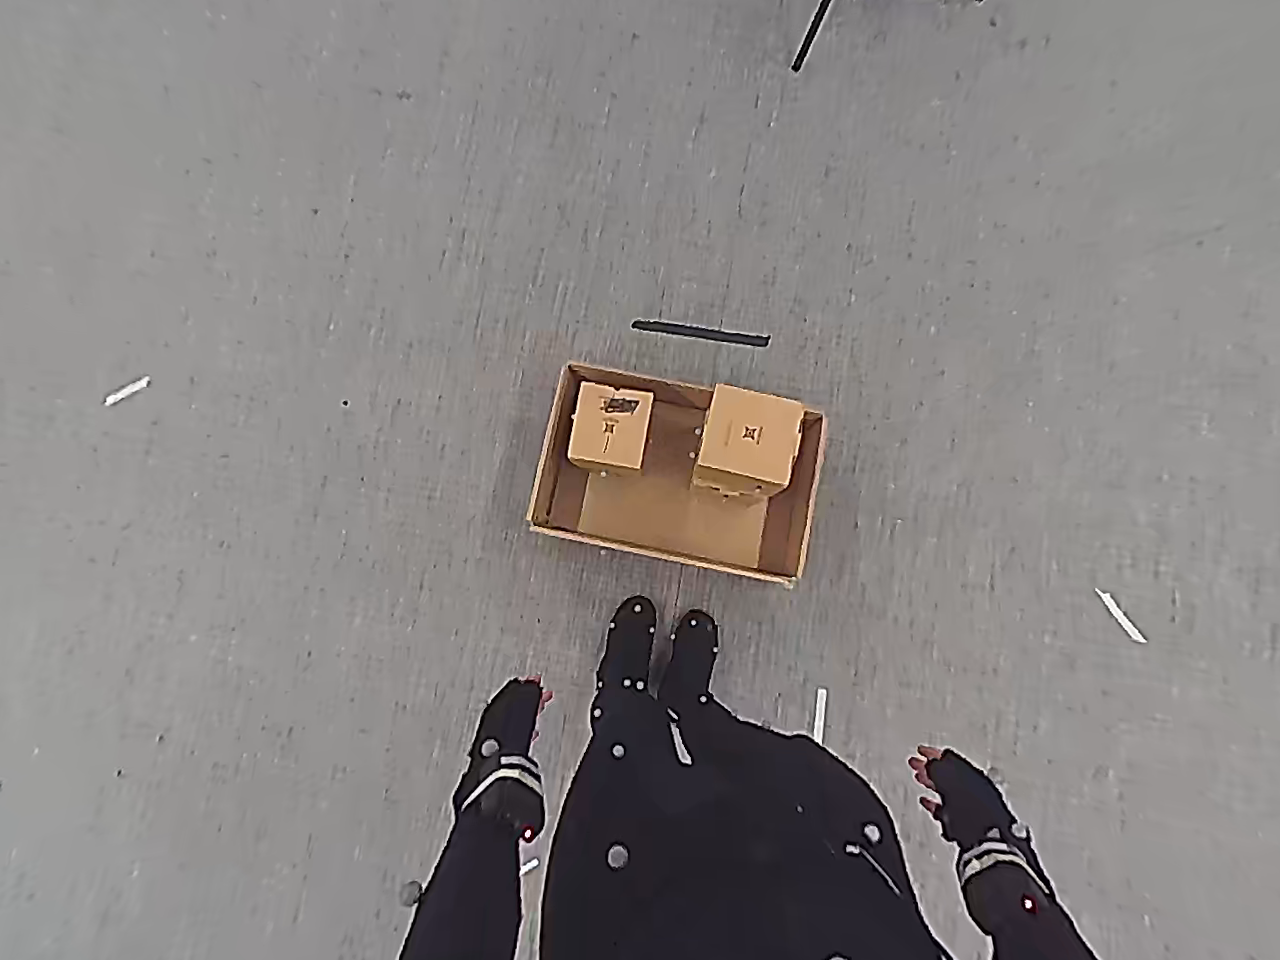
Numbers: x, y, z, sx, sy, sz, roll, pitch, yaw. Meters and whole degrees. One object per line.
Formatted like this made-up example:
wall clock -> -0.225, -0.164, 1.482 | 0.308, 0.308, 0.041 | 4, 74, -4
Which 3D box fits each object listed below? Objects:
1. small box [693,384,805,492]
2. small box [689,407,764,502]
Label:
small box -> 0.213, -0.076, 1.095 | 0.179, 0.176, 0.168 | 13, 82, 5
small box -> 0.214, -0.051, 1.258 | 0.168, 0.176, 0.179 | 13, 85, 6
